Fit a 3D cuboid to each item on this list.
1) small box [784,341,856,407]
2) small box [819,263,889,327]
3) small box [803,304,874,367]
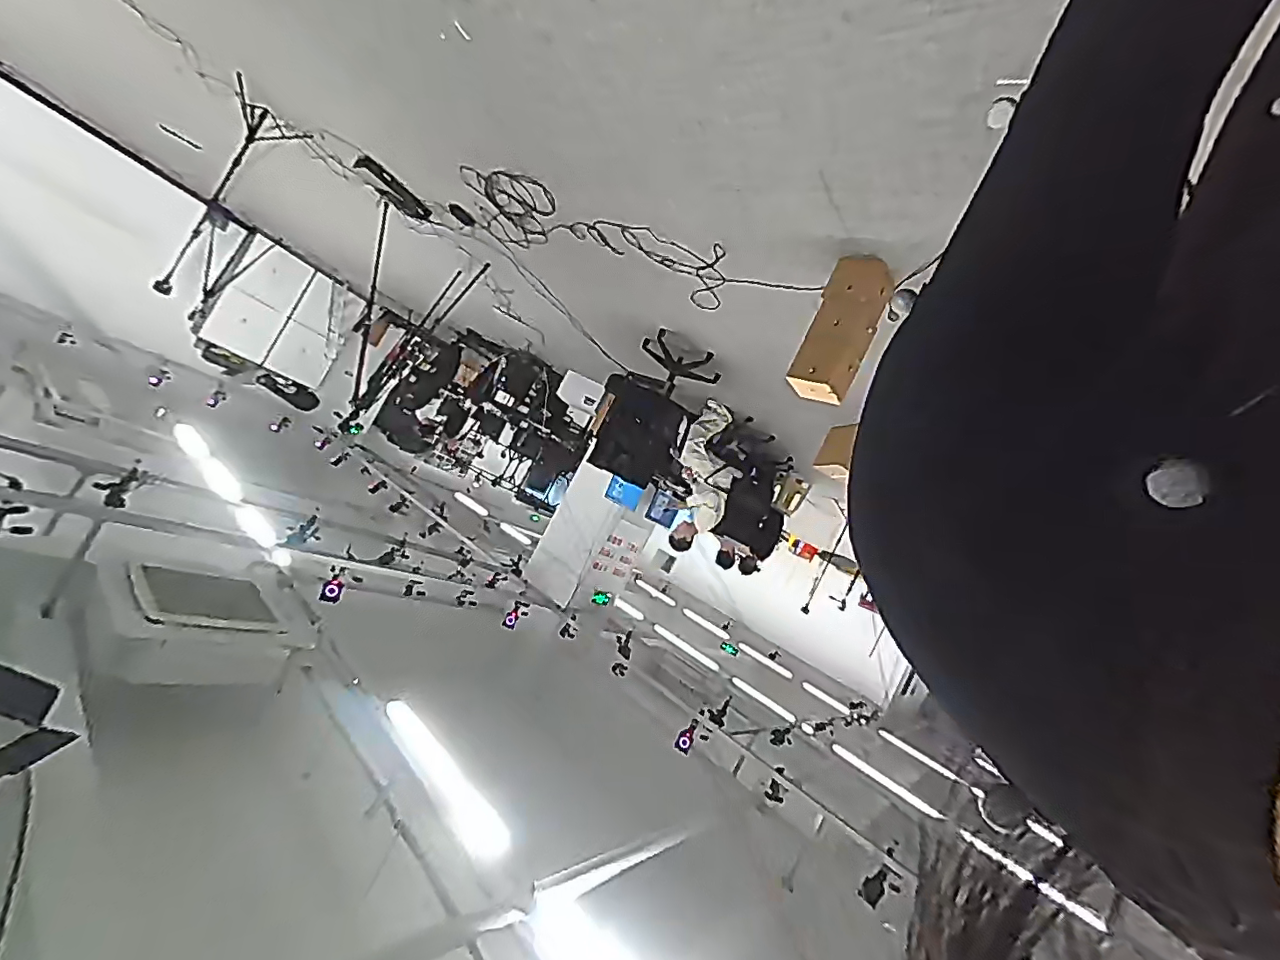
[{"bbox_3d":[0.670,-0.398,2.005,0.179,0.176,0.168,23,174,42],"label":"small box"},{"bbox_3d":[0.807,-0.694,2.022,0.179,0.176,0.168,24,175,44],"label":"small box"},{"bbox_3d":[0.745,-0.541,2.023,0.179,0.176,0.168,23,175,41],"label":"small box"}]
